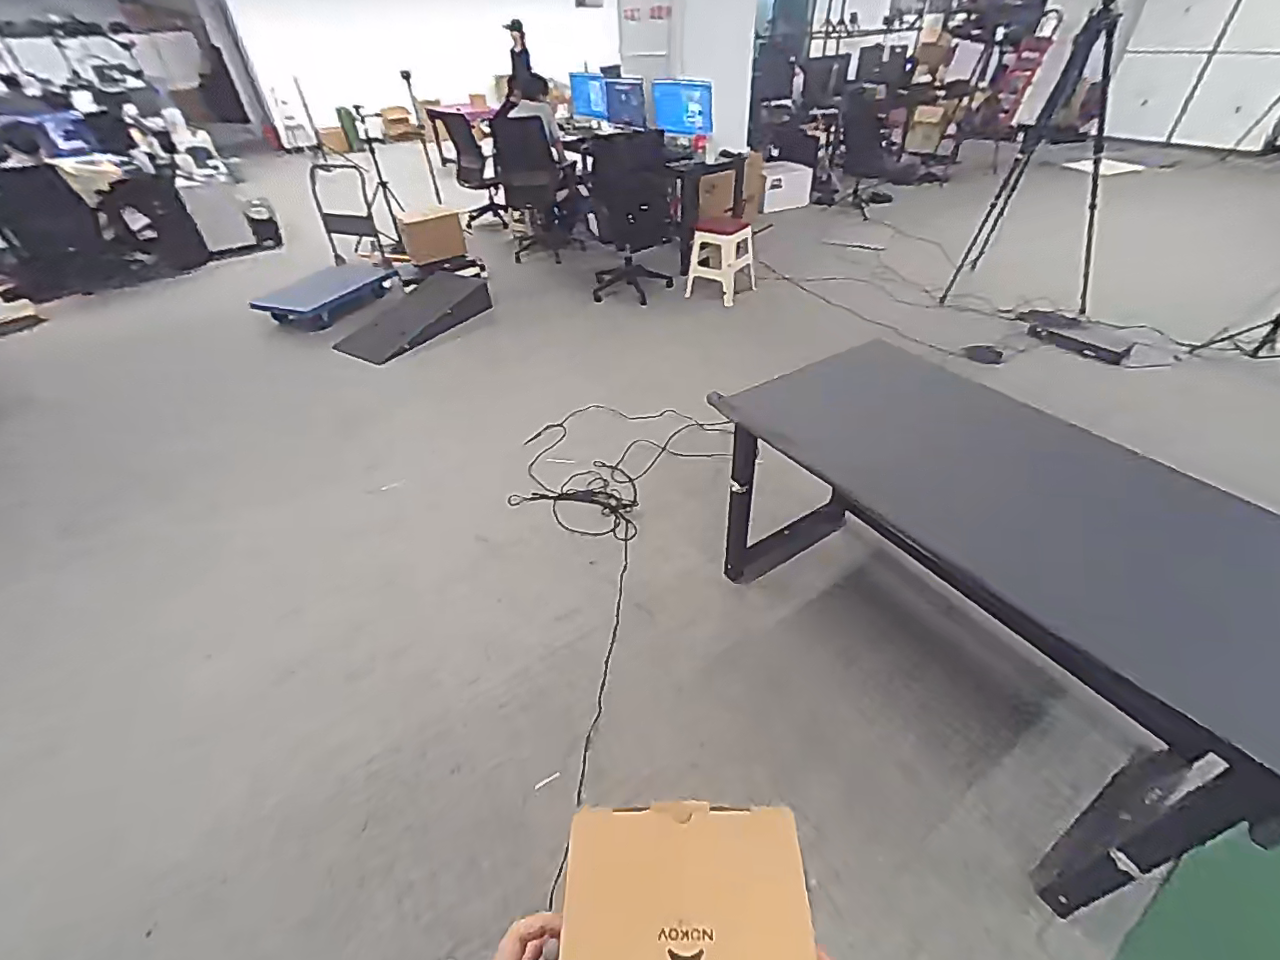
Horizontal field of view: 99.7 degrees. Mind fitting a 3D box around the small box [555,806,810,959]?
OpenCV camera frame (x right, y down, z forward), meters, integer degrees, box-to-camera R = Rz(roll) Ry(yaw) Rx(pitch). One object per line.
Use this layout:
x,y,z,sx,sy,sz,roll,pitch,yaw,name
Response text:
0.033,0.363,0.396,0.168,0.176,0.179,-2,42,4,small box
